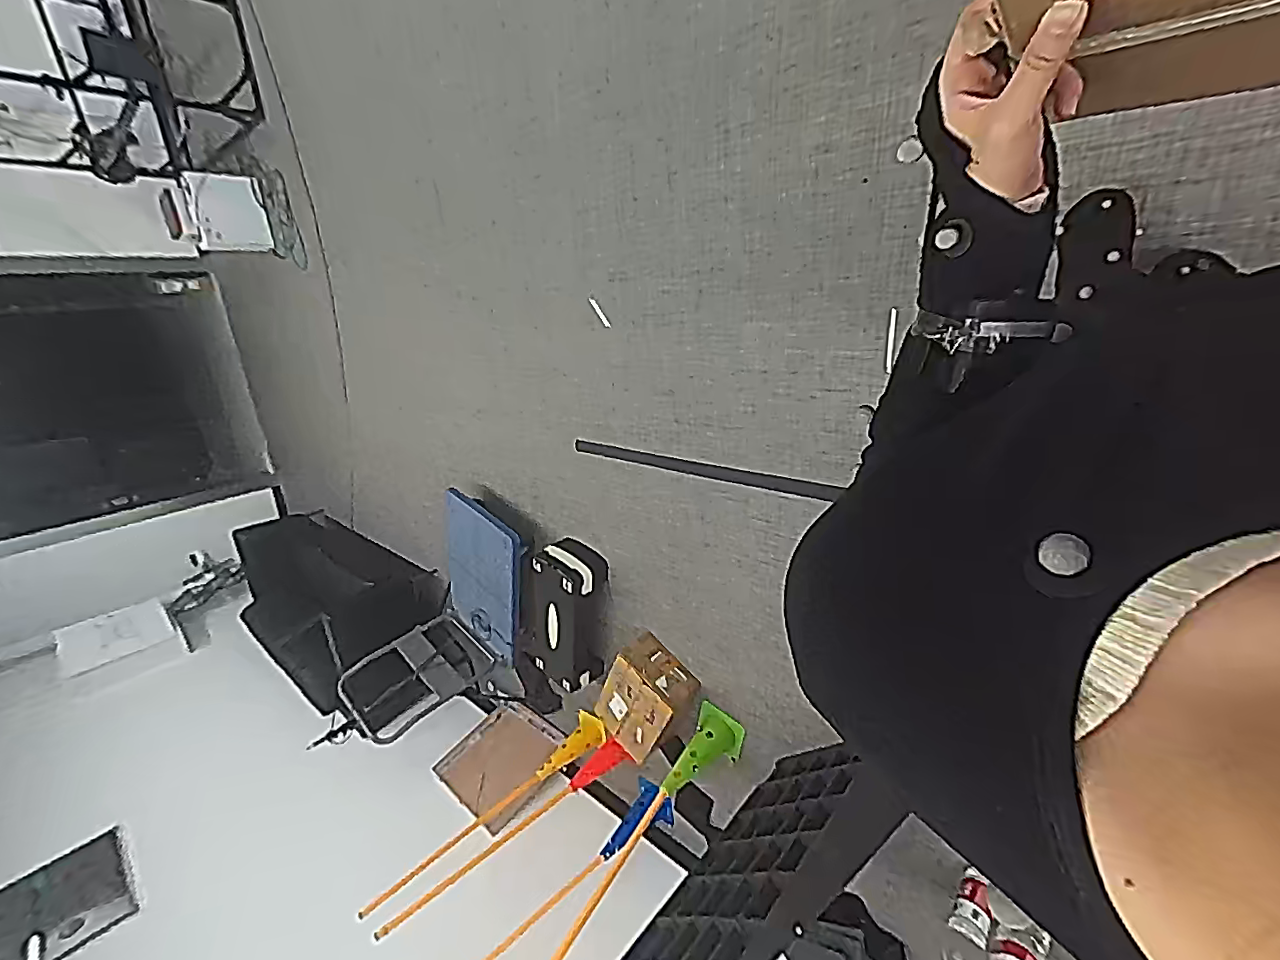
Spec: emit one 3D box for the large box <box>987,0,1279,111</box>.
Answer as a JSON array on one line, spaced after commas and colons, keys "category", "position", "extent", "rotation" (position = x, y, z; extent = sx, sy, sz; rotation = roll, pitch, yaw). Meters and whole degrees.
[{"category": "large box", "position": [0.347, -0.350, 0.132], "extent": [0.408, 0.320, 0.320], "rotation": [13, 113, 37]}]
